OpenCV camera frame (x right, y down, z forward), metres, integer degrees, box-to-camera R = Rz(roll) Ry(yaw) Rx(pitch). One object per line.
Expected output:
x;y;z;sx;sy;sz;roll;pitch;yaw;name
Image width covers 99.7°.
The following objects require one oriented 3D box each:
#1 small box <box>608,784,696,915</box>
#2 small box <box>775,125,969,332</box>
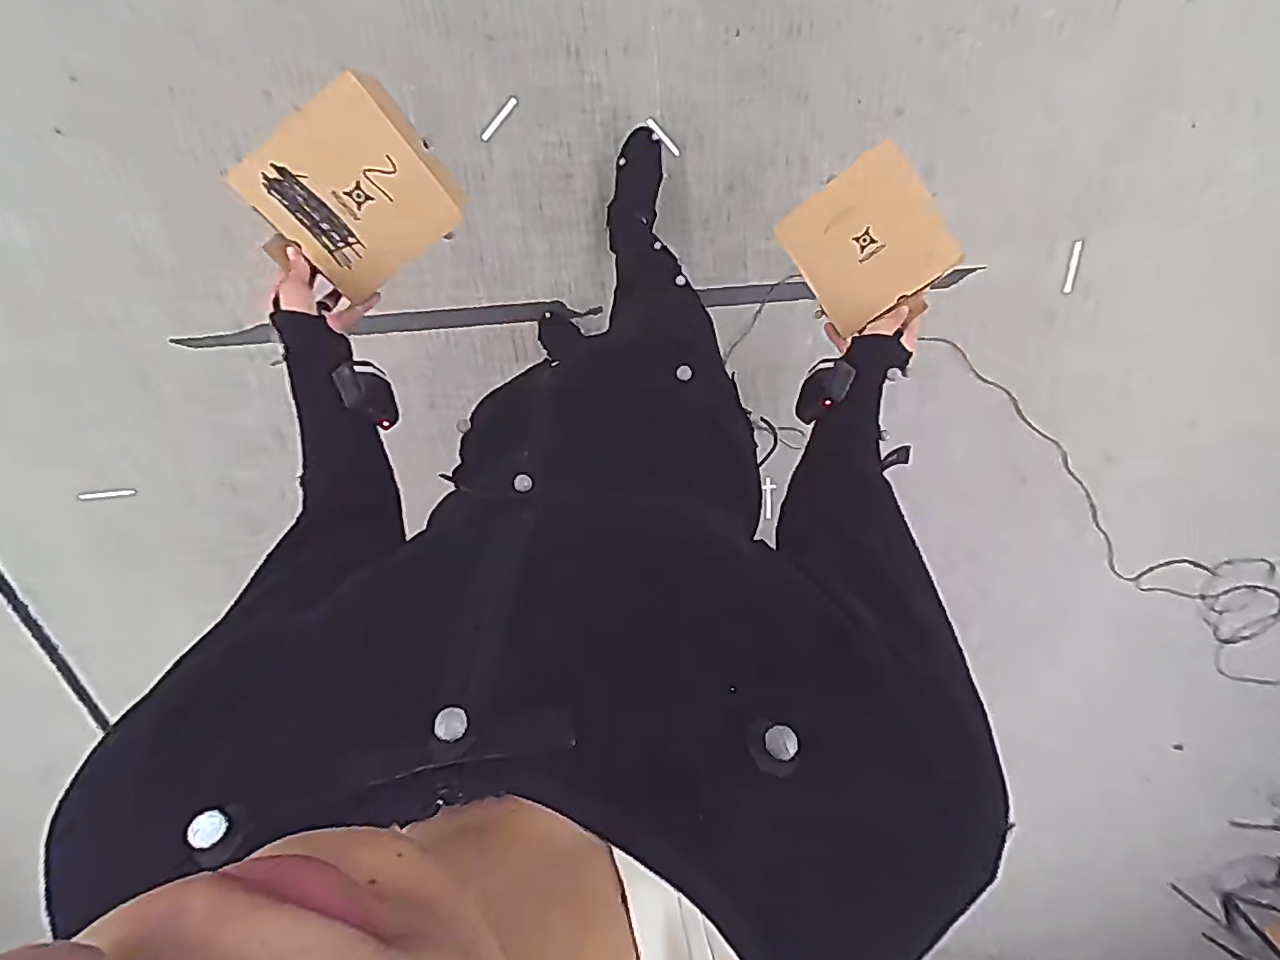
0.023;0.783;1.163;0.168;0.176;0.179;-7;115;-2;small box
0.303;-0.328;0.731;0.168;0.176;0.179;-32;98;24;small box
